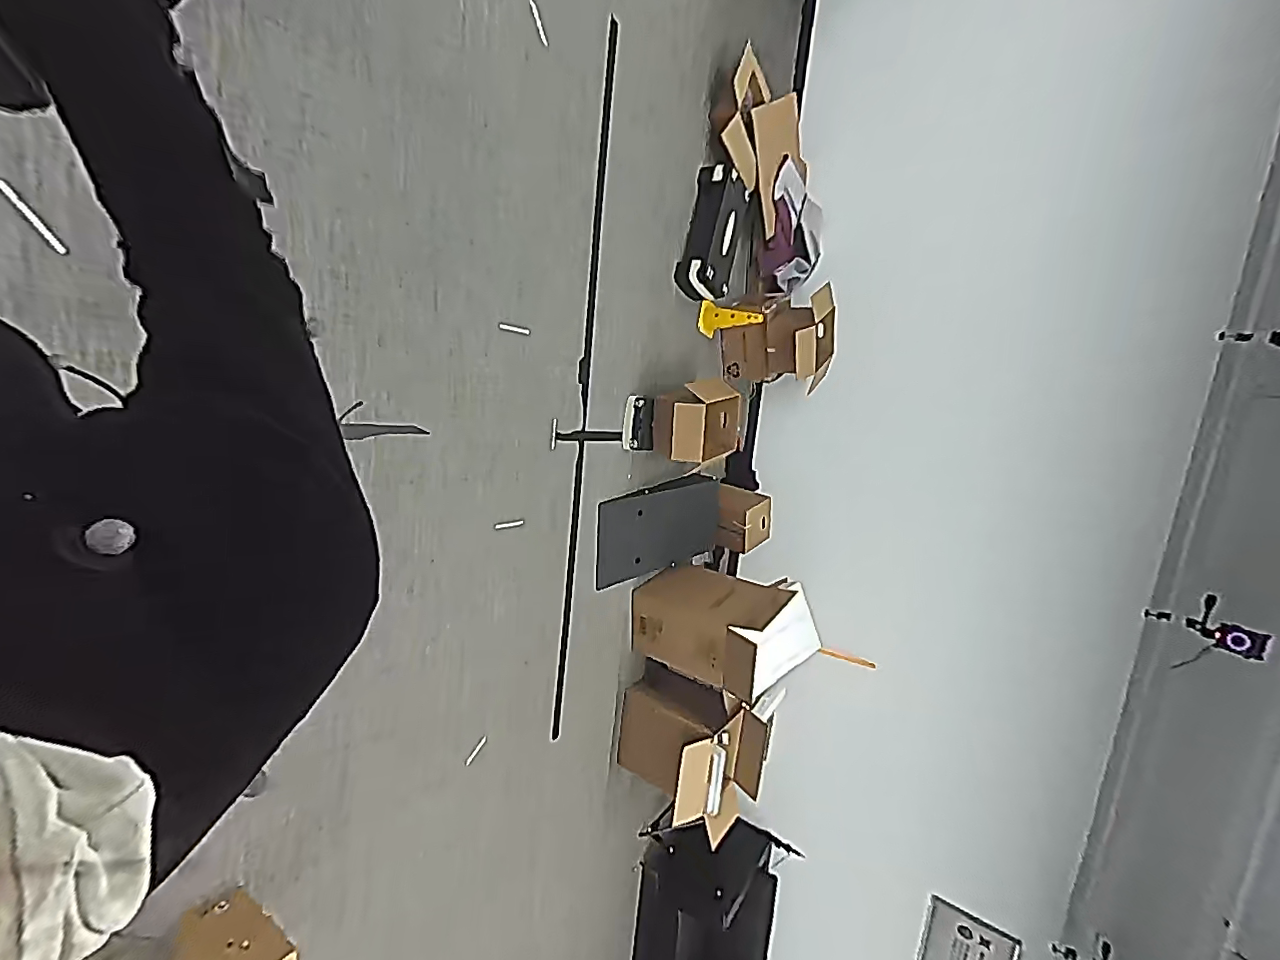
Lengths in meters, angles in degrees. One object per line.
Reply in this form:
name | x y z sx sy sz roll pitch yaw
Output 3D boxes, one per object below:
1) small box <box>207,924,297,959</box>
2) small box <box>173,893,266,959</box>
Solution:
small box | -1.050 1.359 1.446 0.168 0.176 0.179 -5 103 -57
small box | -1.190 1.336 1.529 0.168 0.176 0.179 -4 103 -57
